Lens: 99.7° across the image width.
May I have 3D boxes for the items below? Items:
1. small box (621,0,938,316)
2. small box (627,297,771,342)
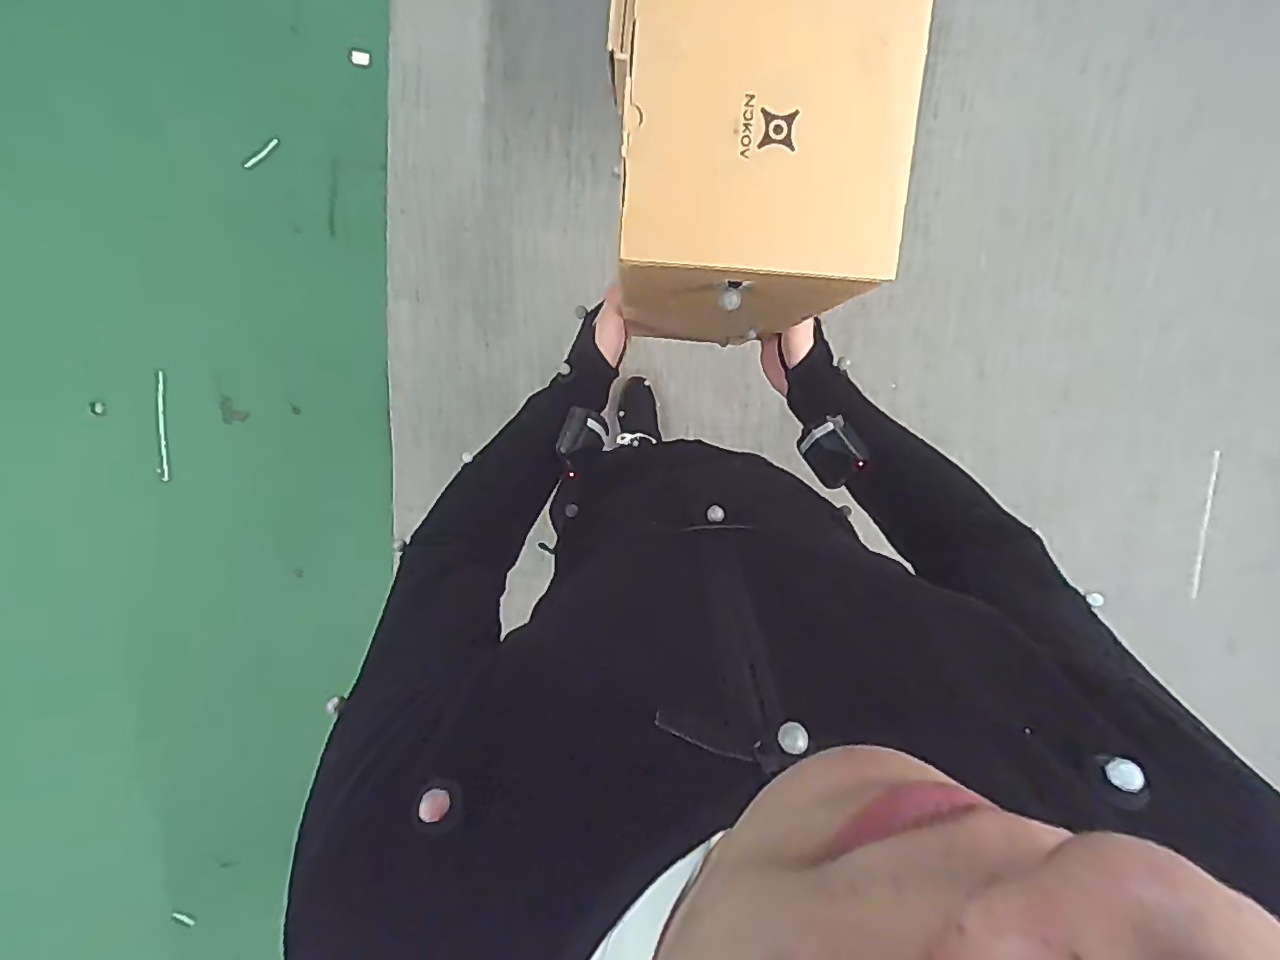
[{"bbox_3d":[0.079,-0.220,0.400,0.179,0.176,0.168,4,99,-1],"label":"small box"},{"bbox_3d":[0.078,-0.281,0.722,0.179,0.176,0.168,5,98,-1],"label":"small box"}]
